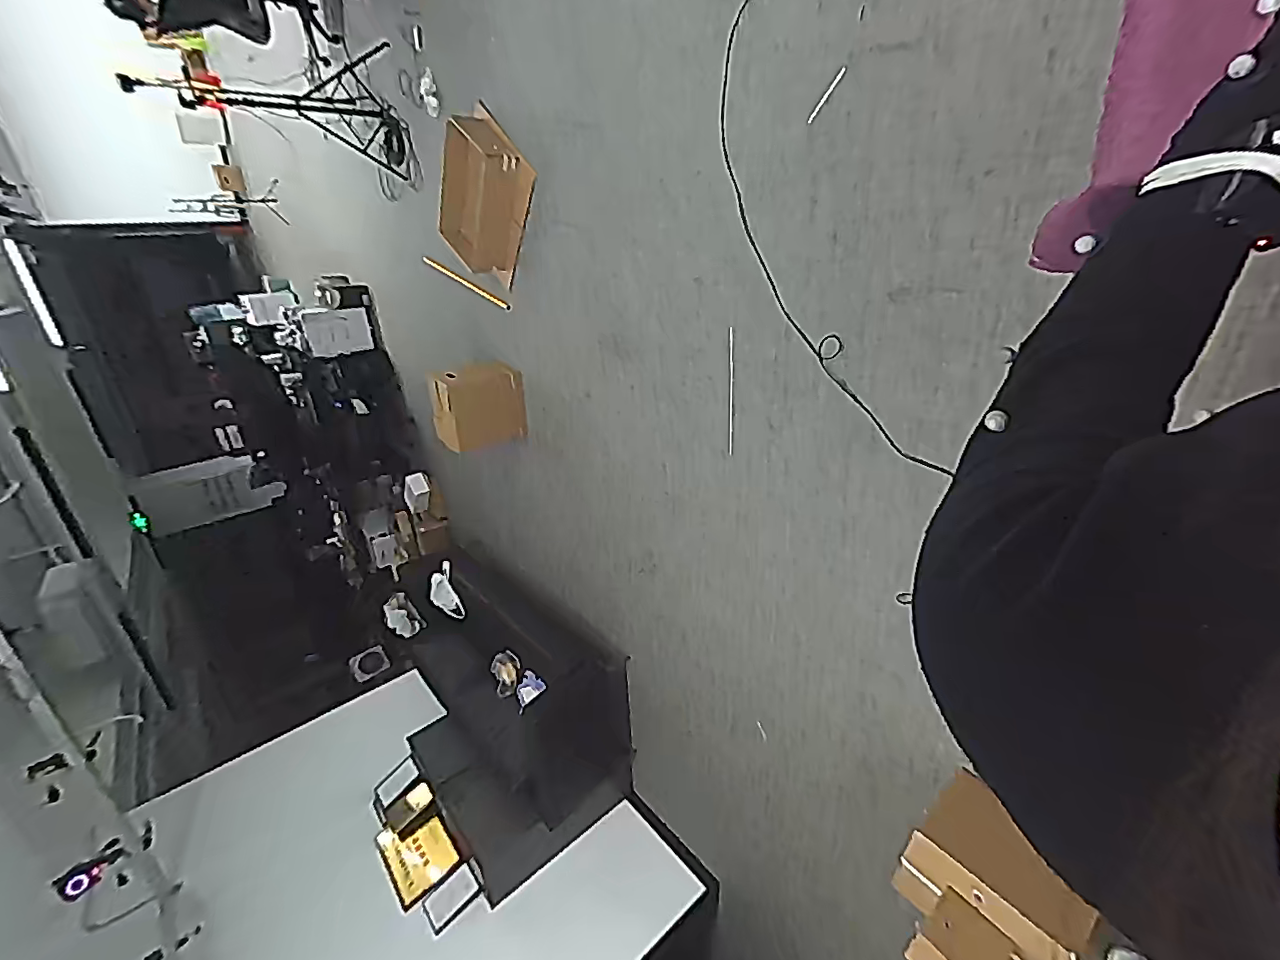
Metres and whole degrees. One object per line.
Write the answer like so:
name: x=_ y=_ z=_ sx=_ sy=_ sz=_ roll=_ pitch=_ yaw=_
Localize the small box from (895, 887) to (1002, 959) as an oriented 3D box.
small box: x=0.839 y=1.261 z=1.472 sx=0.179 sy=0.176 sz=0.168 roll=32 pitch=134 yaw=39
